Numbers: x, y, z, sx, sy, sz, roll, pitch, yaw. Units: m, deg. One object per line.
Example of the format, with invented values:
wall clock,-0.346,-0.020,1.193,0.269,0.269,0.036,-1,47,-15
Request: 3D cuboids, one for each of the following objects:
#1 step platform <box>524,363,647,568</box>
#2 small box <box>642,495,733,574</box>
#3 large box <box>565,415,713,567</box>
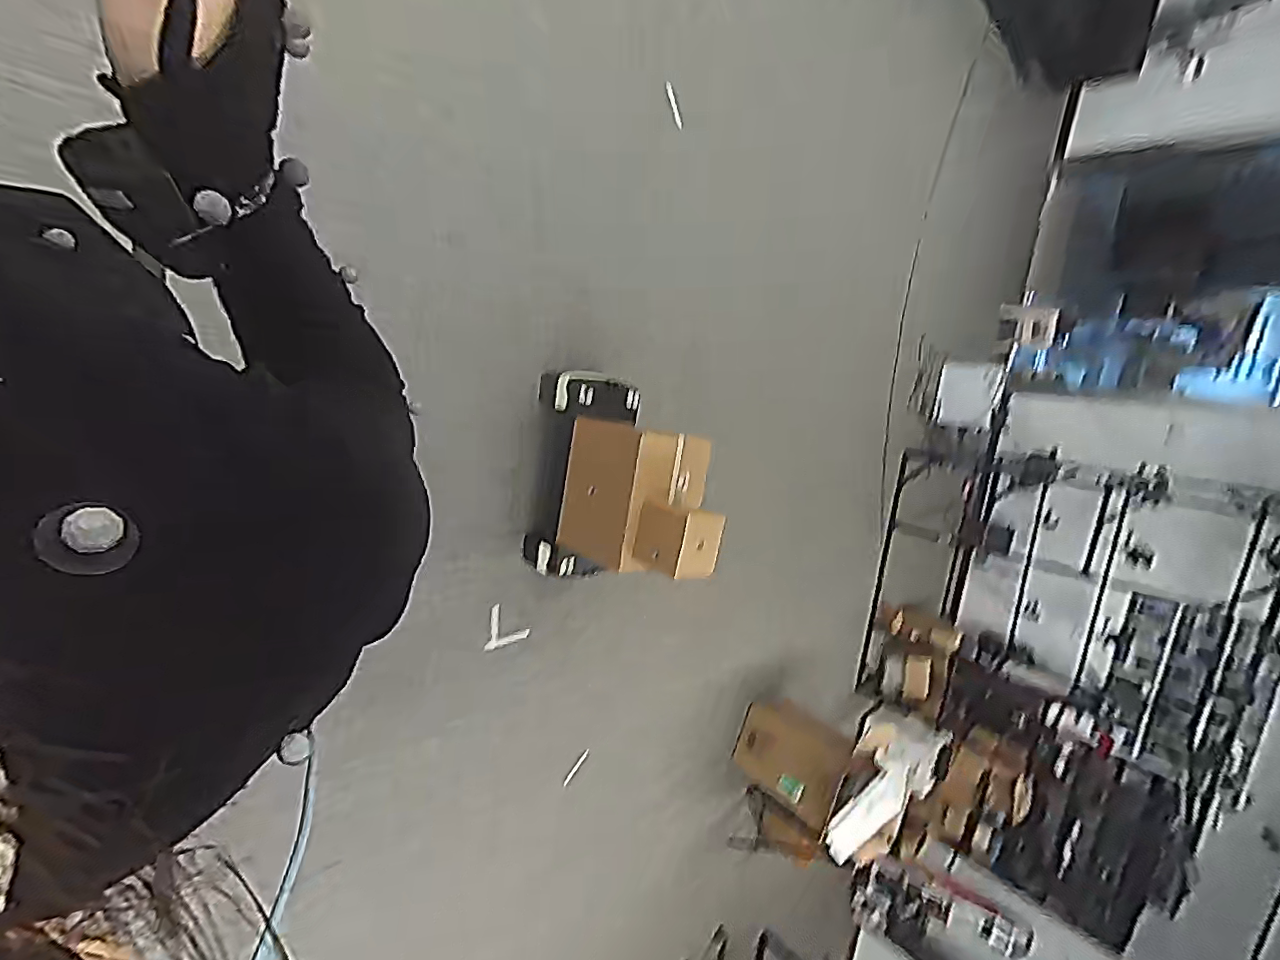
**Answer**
step platform,-0.179,-0.044,1.839,0.286,0.204,0.684,4,98,-45
small box,0.127,0.150,1.502,0.168,0.176,0.179,6,97,-44
large box,-0.010,0.023,1.683,0.320,0.320,0.408,0,100,-45
